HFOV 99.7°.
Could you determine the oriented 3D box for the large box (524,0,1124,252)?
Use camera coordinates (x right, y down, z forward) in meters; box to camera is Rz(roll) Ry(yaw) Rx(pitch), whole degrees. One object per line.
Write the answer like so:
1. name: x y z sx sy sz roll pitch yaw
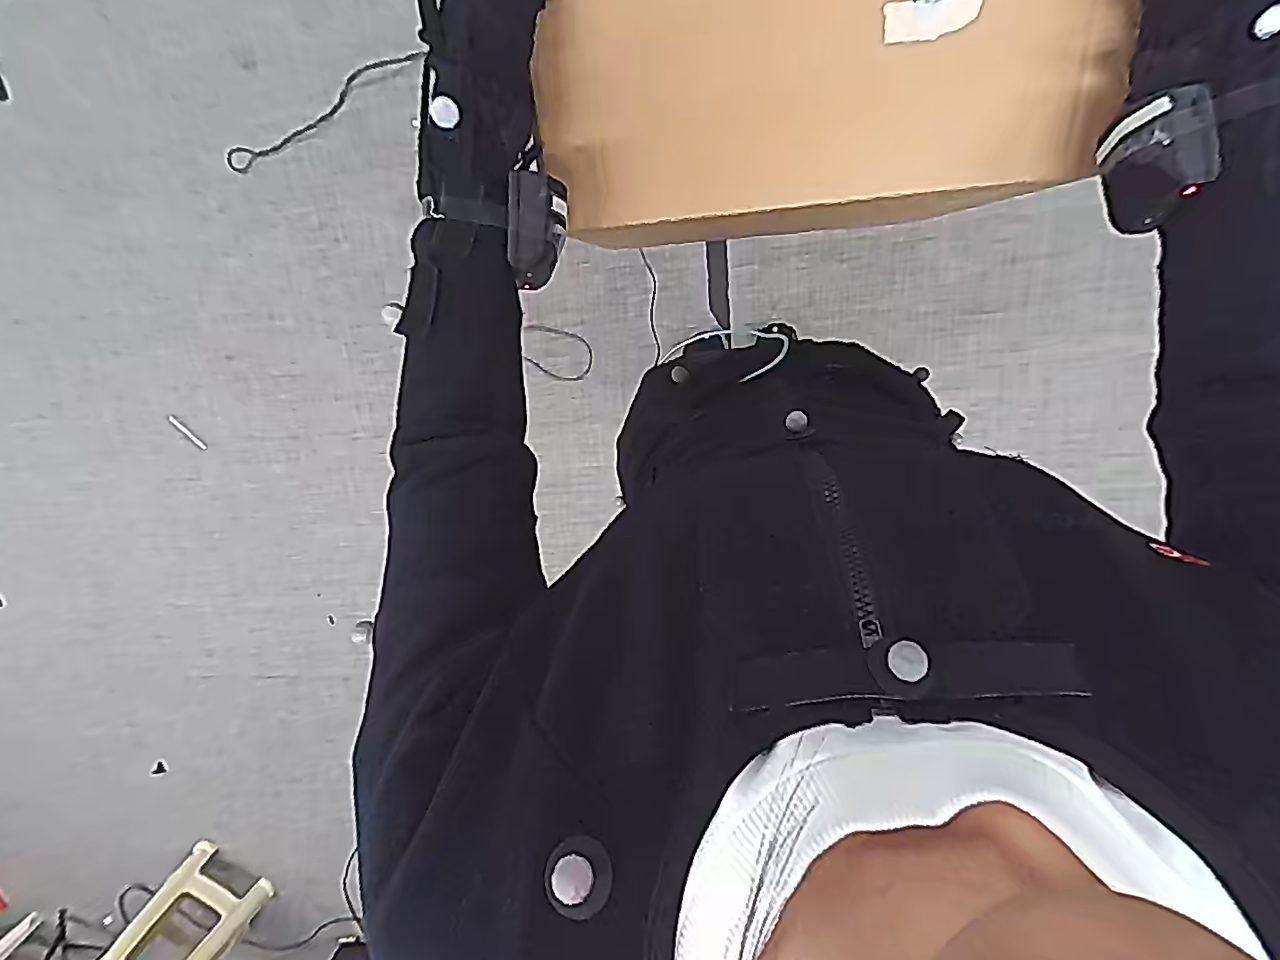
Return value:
1. large box: 0.122 -0.405 0.493 0.408 0.320 0.320 -4 110 6
